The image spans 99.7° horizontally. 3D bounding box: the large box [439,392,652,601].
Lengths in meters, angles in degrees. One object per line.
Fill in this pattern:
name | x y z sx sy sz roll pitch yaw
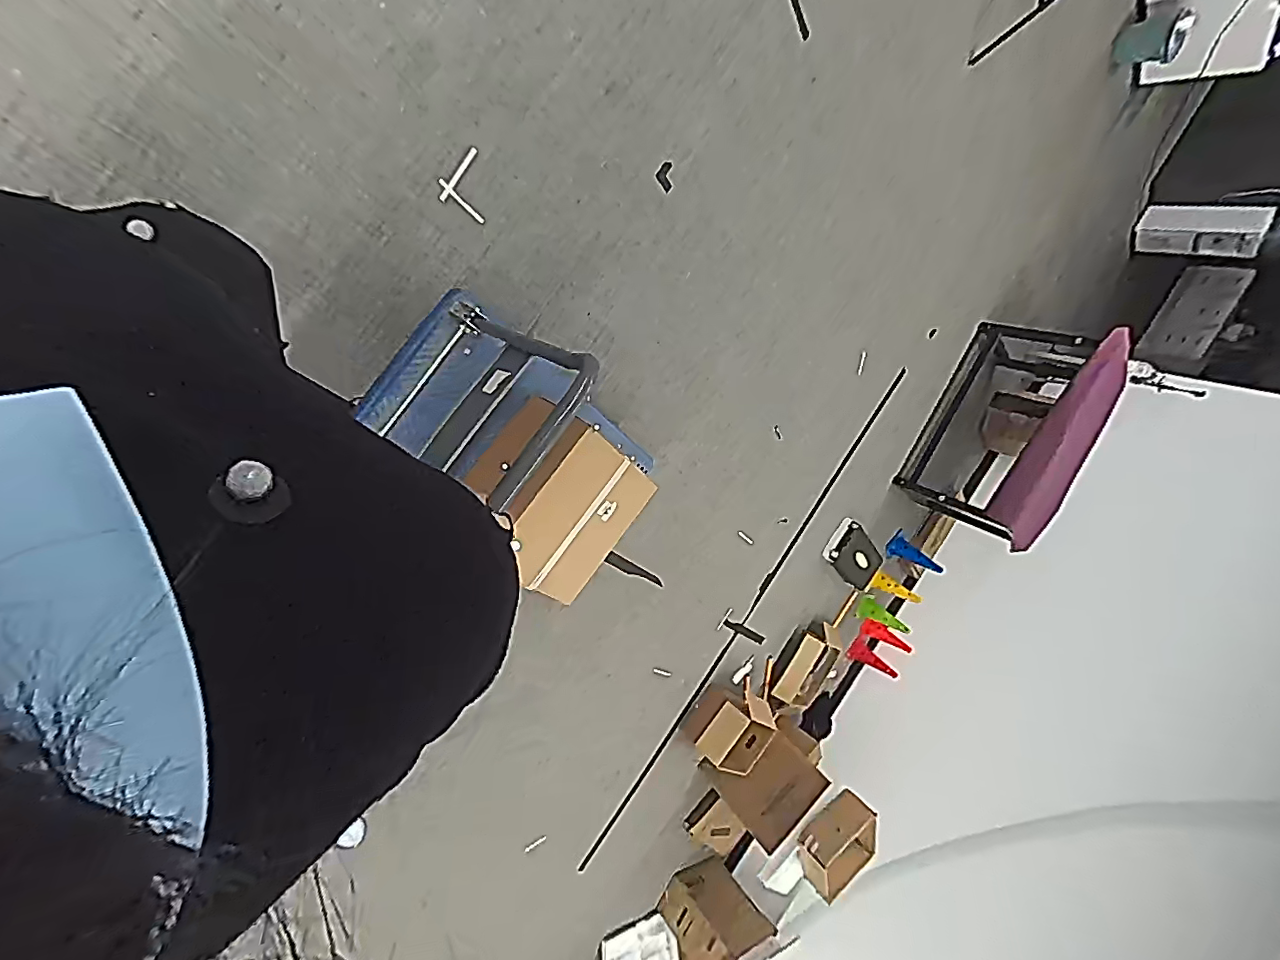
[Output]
large box | -0.252 0.040 1.440 0.408 0.320 0.320 -54 135 -6
